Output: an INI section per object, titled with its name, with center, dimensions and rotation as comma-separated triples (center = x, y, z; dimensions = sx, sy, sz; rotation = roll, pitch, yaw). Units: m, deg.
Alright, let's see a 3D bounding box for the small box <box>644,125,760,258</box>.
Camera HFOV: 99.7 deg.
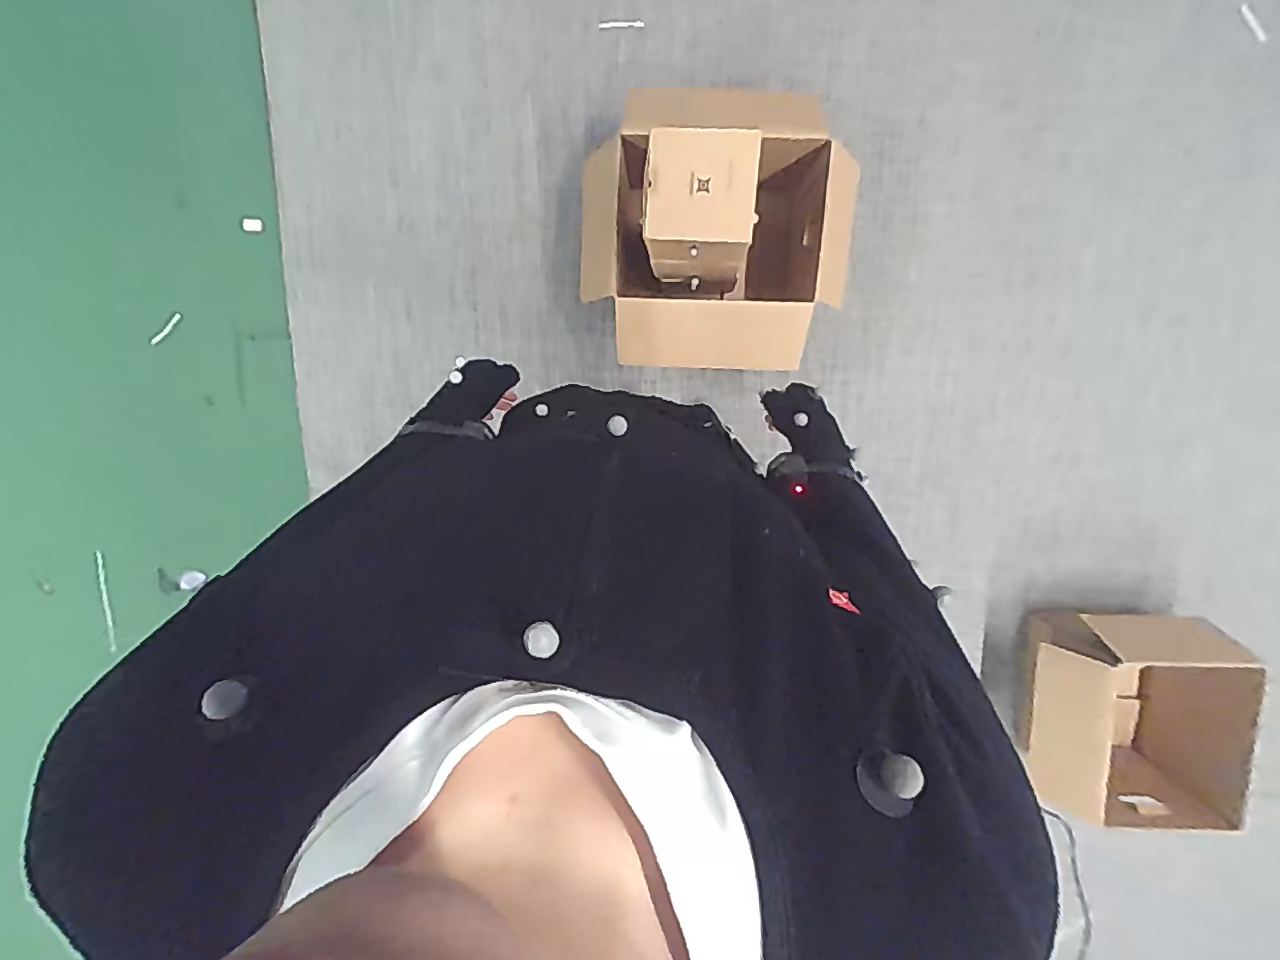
[small box]
center = 0.103, -0.487, 0.935
dimensions = 0.179, 0.176, 0.168
rotation = 3, 102, 4
